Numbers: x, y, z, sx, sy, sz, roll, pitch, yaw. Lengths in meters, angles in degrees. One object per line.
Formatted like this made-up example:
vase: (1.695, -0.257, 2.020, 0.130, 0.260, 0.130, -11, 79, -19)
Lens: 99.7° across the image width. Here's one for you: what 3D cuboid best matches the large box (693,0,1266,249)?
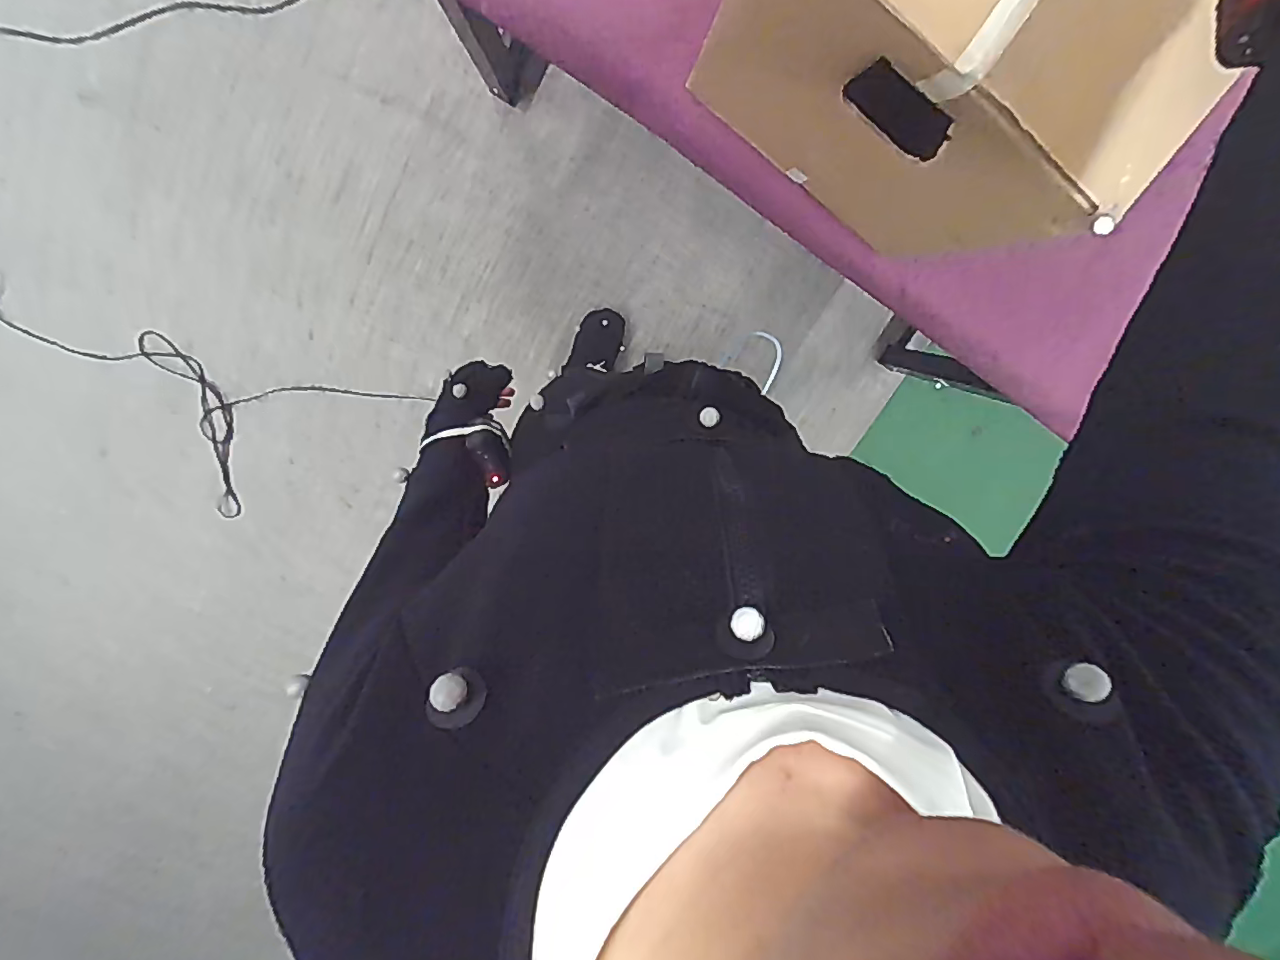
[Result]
large box: (0.298, -0.470, 0.457, 0.320, 0.320, 0.408, 31, 105, -13)
